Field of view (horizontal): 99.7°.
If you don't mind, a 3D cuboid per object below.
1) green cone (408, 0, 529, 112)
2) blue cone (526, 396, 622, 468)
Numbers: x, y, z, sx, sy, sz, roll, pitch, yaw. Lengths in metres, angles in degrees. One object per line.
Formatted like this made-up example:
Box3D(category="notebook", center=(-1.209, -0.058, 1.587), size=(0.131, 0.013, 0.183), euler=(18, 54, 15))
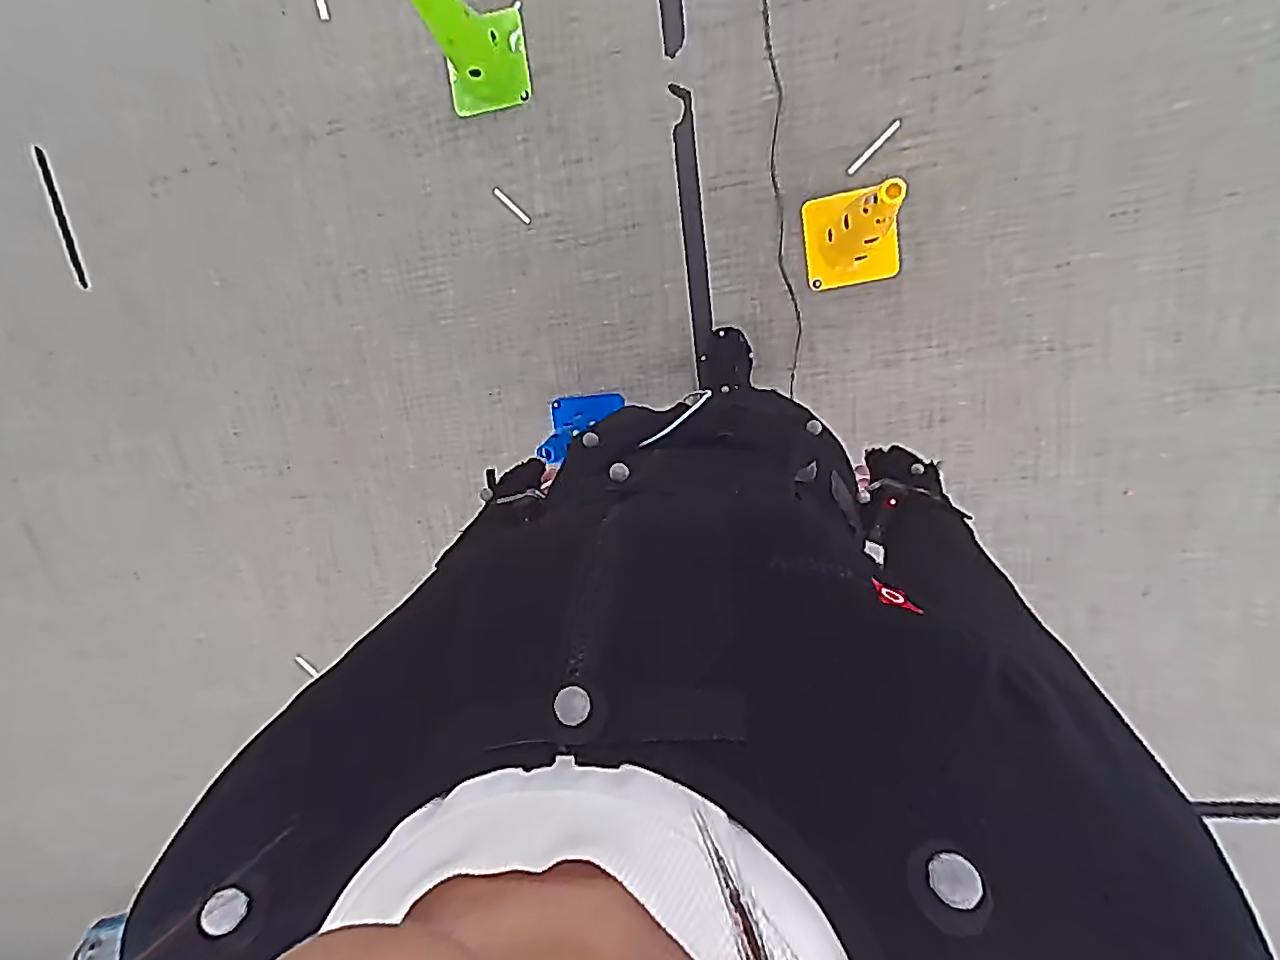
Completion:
Box3D(category="green cone", center=(-0.401, -0.968, 1.122), size=(0.202, 0.368, 0.200), euler=(-5, 101, 12))
Box3D(category="blue cone", center=(-0.174, -0.093, 1.289), size=(0.192, 0.380, 0.193), euler=(-1, 102, 11))
